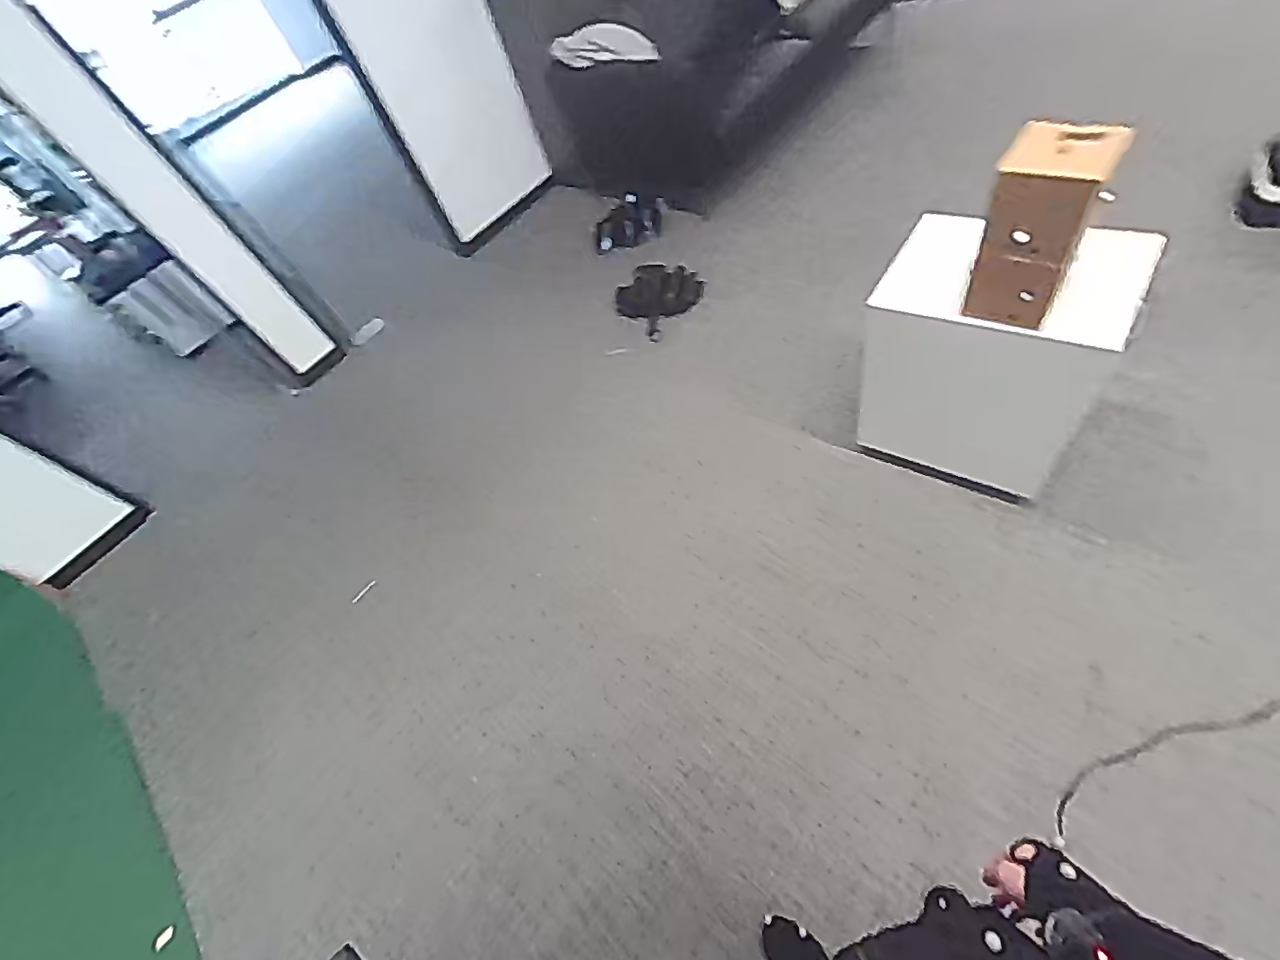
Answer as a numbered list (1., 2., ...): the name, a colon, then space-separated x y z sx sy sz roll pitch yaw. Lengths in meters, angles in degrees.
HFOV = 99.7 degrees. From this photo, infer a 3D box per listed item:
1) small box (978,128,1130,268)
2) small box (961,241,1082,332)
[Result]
1. small box: 0.787 -0.545 1.047 0.168 0.176 0.179 28 68 32
2. small box: 0.825 -0.449 1.175 0.168 0.176 0.179 27 65 31
